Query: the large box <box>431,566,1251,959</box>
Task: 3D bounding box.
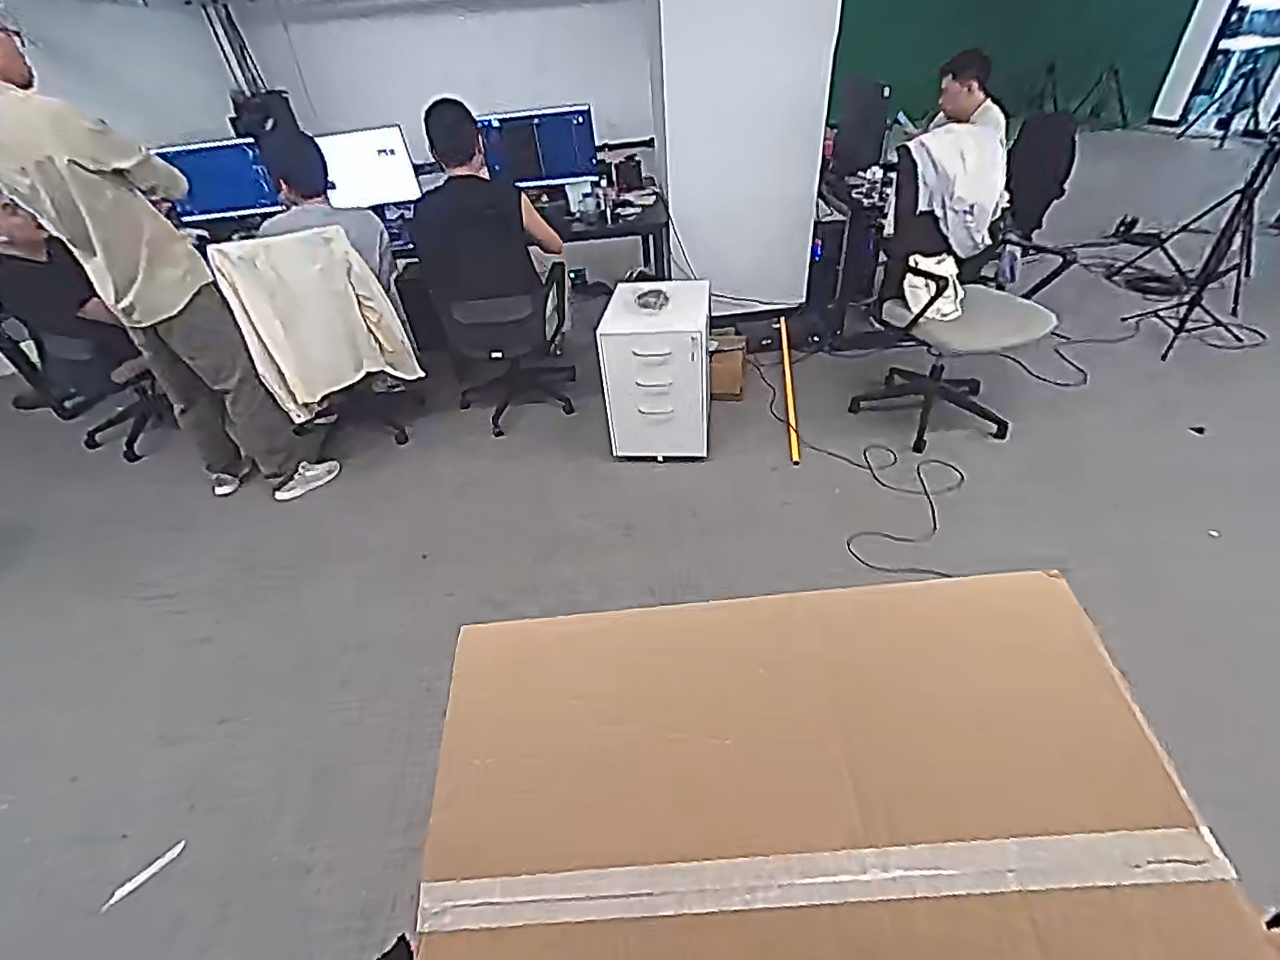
[{"bbox_3d":[0.100,0.293,0.413,0.408,0.320,0.320,-7,54,4],"label":"large box"}]
